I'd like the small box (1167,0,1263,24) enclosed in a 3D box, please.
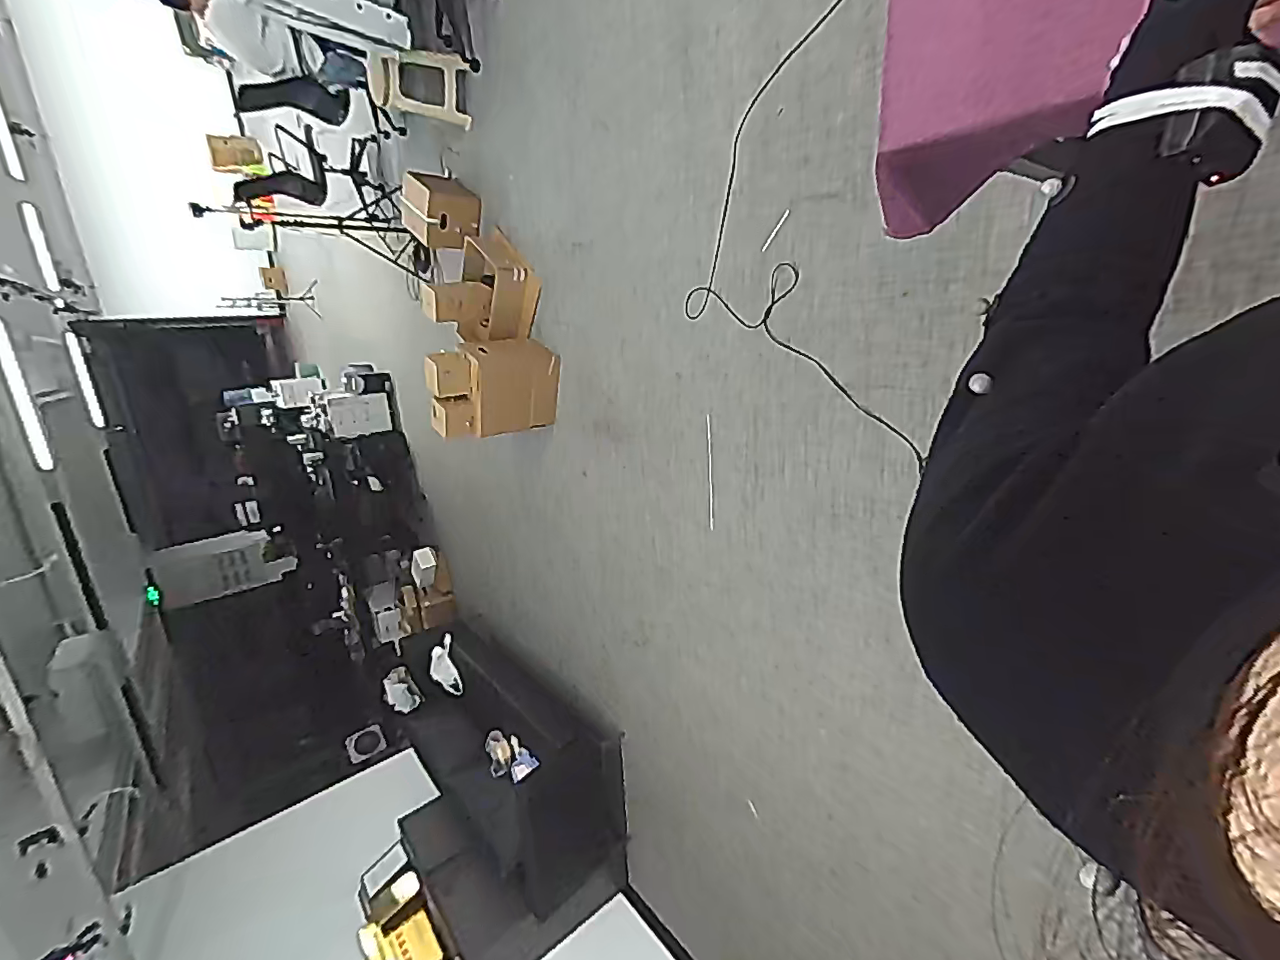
[{"bbox_3d":[0.513,-0.499,0.405,0.168,0.176,0.179,14,114,49],"label":"small box"}]
